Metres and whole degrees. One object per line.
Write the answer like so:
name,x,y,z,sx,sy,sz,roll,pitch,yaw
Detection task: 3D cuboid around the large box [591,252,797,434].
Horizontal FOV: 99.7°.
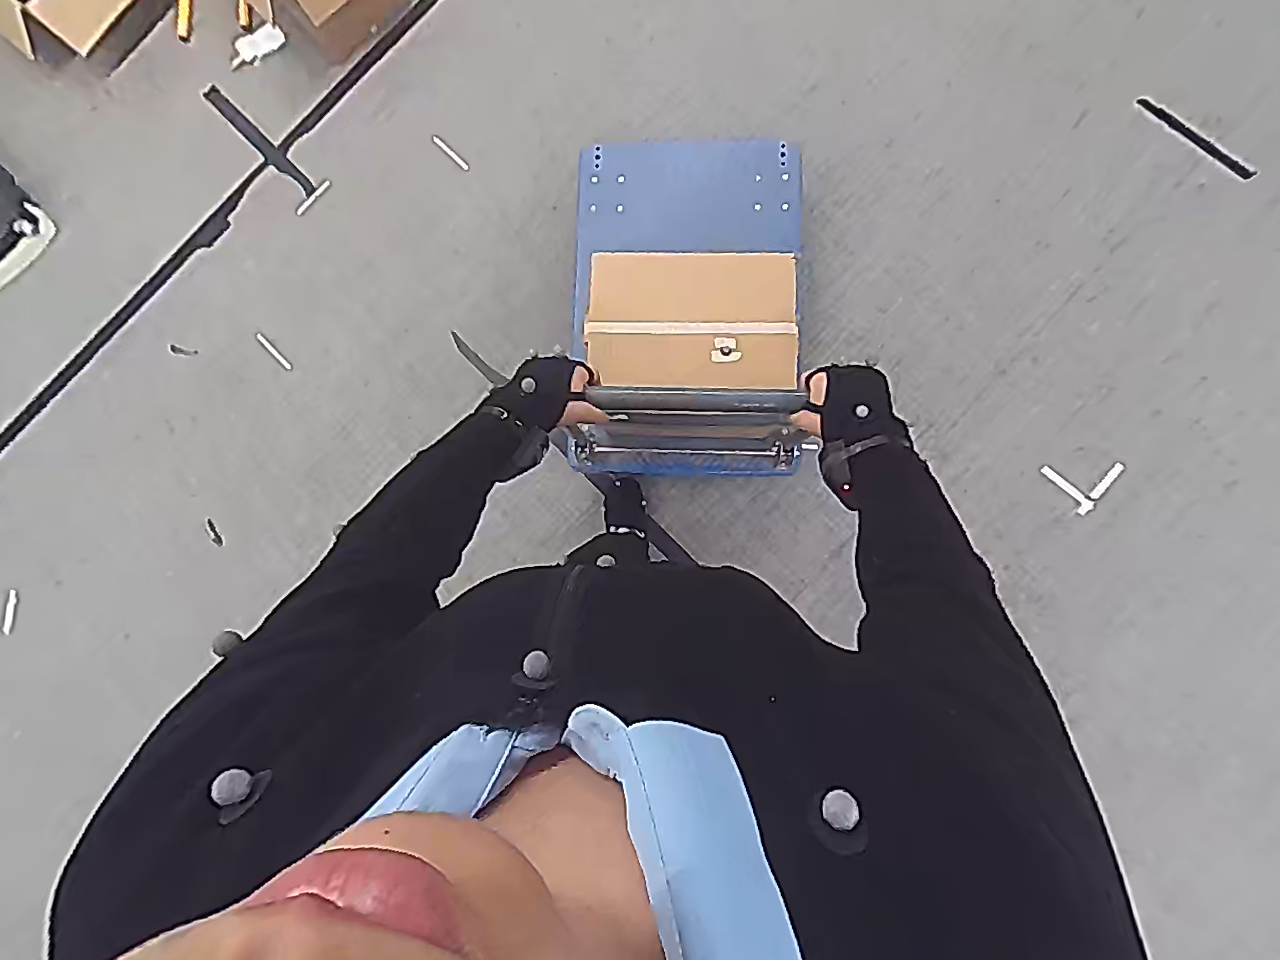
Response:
large box,0.107,-0.283,1.205,0.408,0.320,0.320,1,85,2
